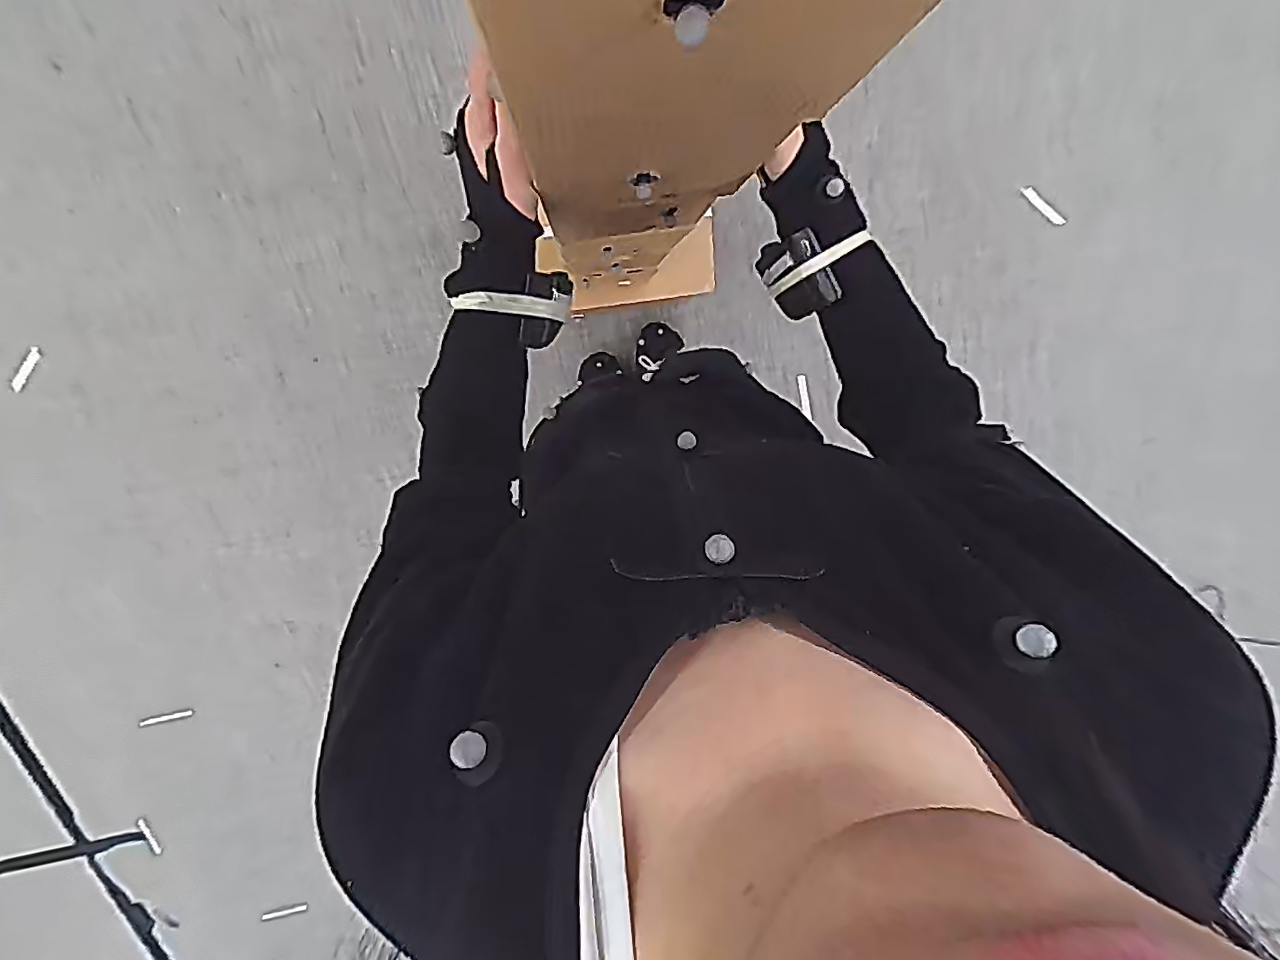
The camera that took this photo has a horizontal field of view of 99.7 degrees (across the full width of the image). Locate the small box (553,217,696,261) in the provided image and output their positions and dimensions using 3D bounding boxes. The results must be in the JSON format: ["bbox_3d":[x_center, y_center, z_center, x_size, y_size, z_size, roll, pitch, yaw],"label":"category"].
[{"bbox_3d":[-0.032,-0.381,0.678,0.168,0.176,0.179,-10,105,-2],"label":"small box"}]

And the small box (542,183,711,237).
[{"bbox_3d":[-0.019,-0.345,0.520,0.168,0.176,0.179,-11,104,-3],"label":"small box"}]

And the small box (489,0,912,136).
[{"bbox_3d":[0.020,-0.254,0.204,0.179,0.176,0.168,-8,105,-4],"label":"small box"}]

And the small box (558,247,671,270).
[{"bbox_3d":[-0.049,-0.426,0.833,0.168,0.176,0.179,-8,106,-3],"label":"small box"}]

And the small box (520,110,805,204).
[{"bbox_3d":[0.001,-0.299,0.362,0.168,0.176,0.179,-8,104,-4],"label":"small box"}]
